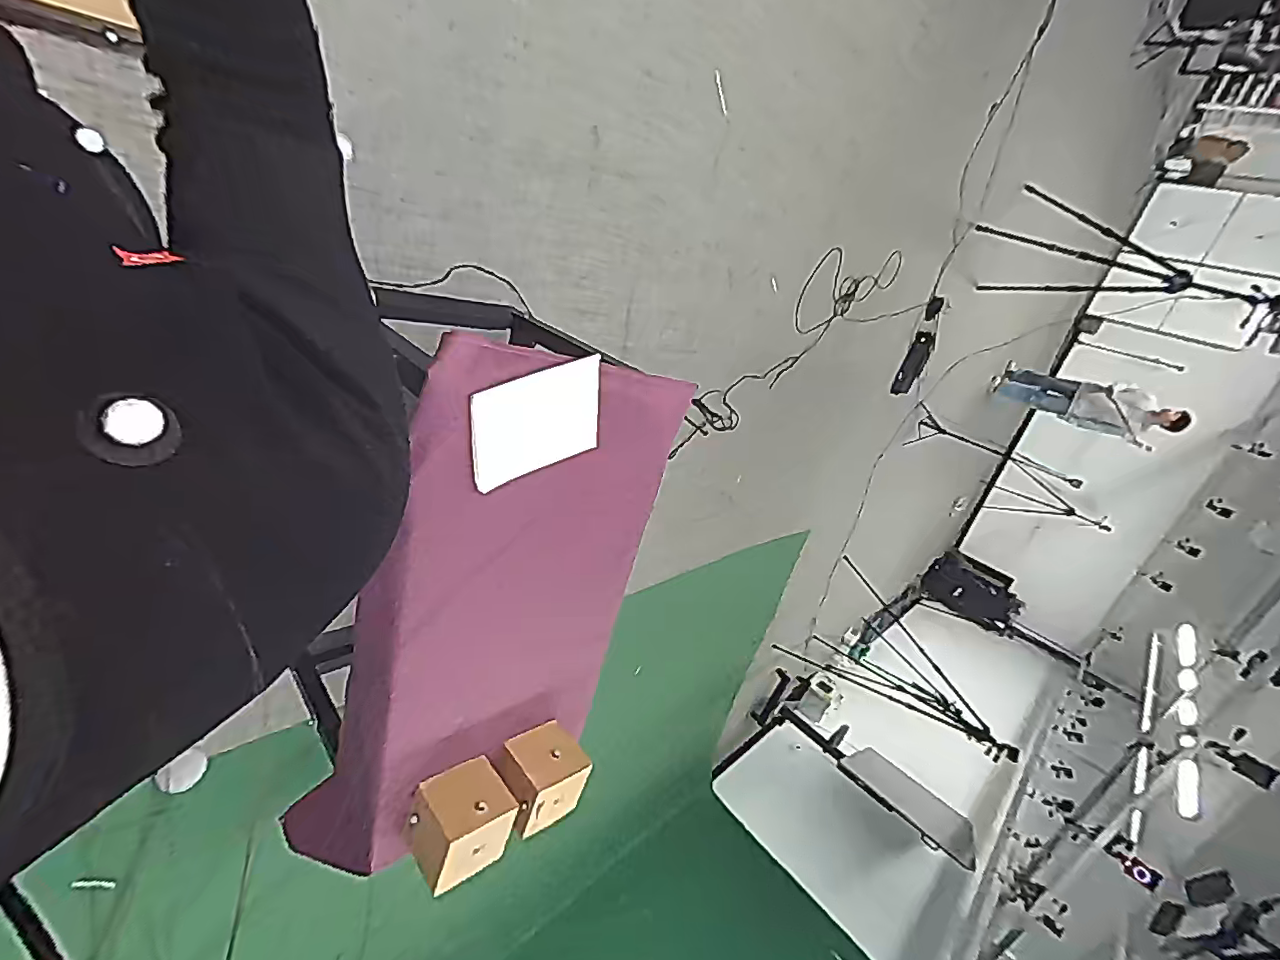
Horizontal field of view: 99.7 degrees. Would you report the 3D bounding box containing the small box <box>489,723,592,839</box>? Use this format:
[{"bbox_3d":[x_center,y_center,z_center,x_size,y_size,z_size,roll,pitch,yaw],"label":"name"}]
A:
[{"bbox_3d":[-0.262,0.774,1.414,0.179,0.176,0.168,-2,117,-49],"label":"small box"}]
